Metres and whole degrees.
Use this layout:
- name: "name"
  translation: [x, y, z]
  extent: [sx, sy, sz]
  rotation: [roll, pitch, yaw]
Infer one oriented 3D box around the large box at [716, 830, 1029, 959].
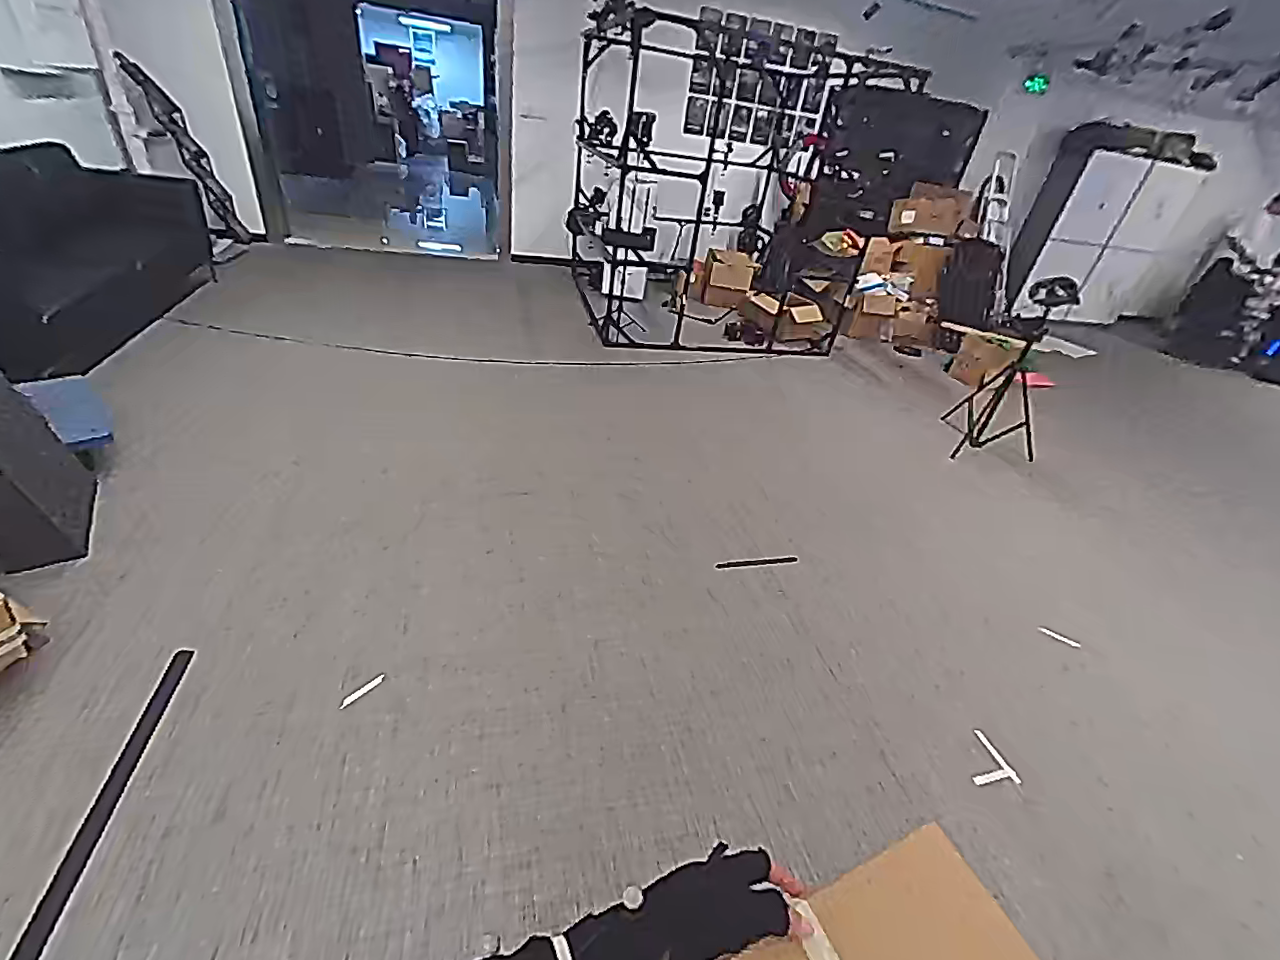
- name: "large box"
  translation: [0.201, 0.588, 0.417]
  extent: [0.320, 0.320, 0.408]
  rotation: [-14, 45, -20]
